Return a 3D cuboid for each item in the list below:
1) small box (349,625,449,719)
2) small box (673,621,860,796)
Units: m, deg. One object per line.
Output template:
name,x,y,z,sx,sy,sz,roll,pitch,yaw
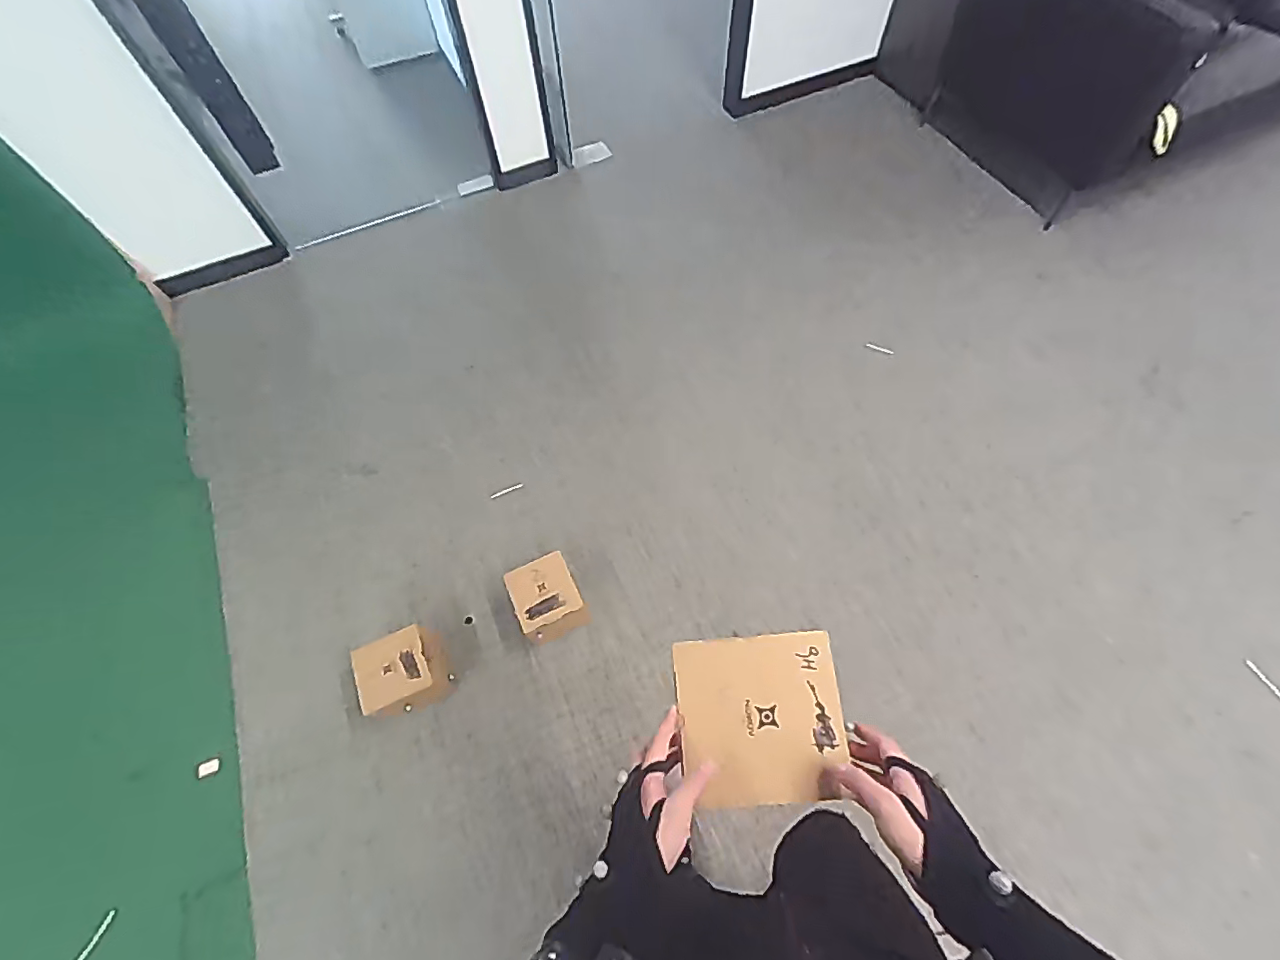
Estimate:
small box,-0.611,0.497,1.392,0.179,0.176,0.168,-23,64,-9
small box,0.136,0.262,0.636,0.179,0.176,0.168,-5,70,5
